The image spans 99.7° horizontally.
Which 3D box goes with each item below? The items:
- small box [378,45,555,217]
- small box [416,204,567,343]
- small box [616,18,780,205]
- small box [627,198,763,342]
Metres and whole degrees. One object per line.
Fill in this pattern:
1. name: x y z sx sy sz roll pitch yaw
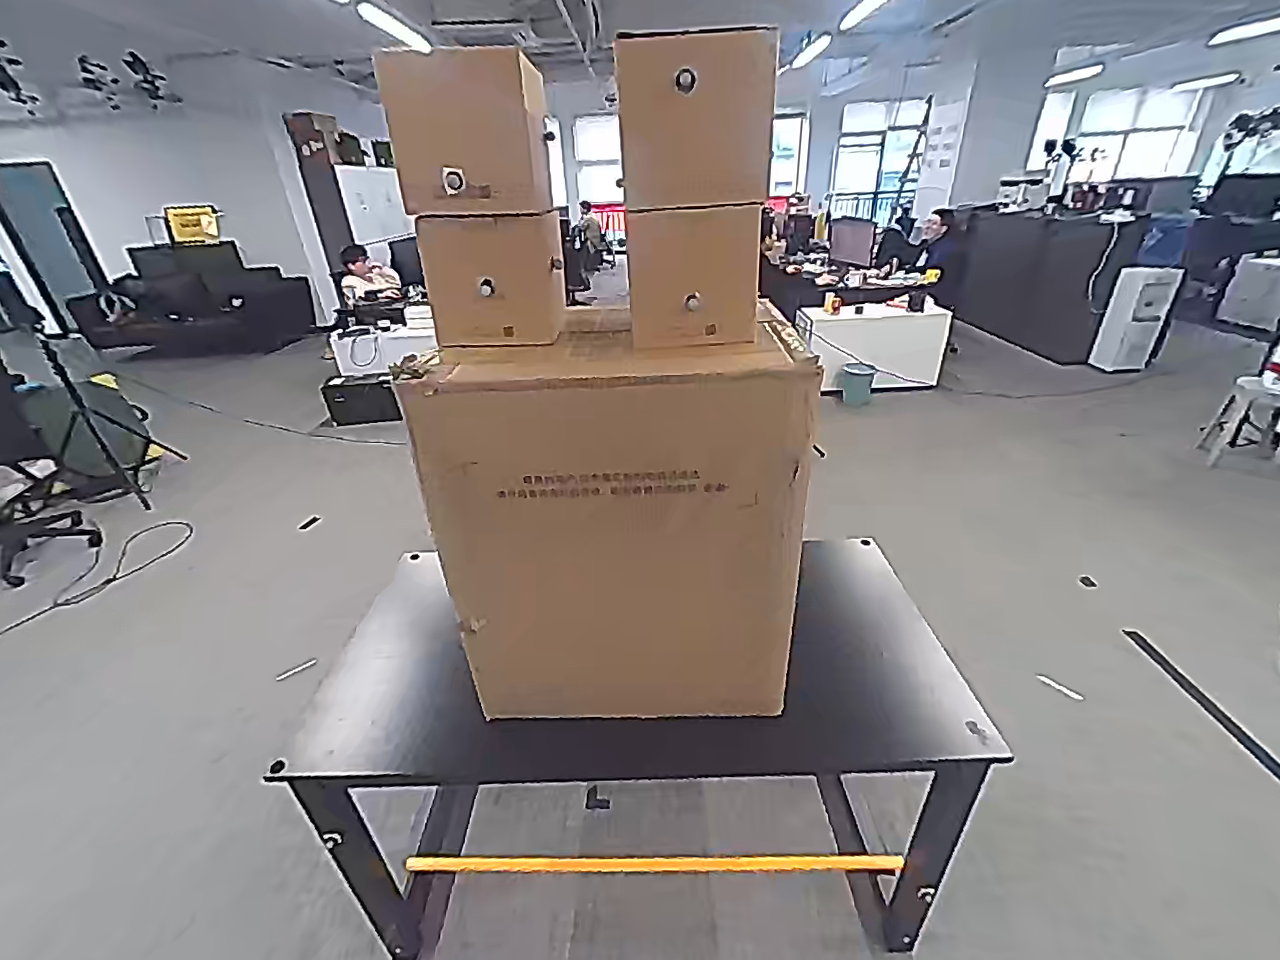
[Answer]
1. small box: -0.207 -0.440 0.701 0.168 0.176 0.179 -3 29 0
2. small box: -0.201 -0.303 0.792 0.168 0.176 0.179 -1 29 0
3. small box: 0.067 -0.437 0.671 0.179 0.176 0.168 -2 29 2
4. small box: 0.071 -0.296 0.756 0.168 0.176 0.179 -3 29 3
